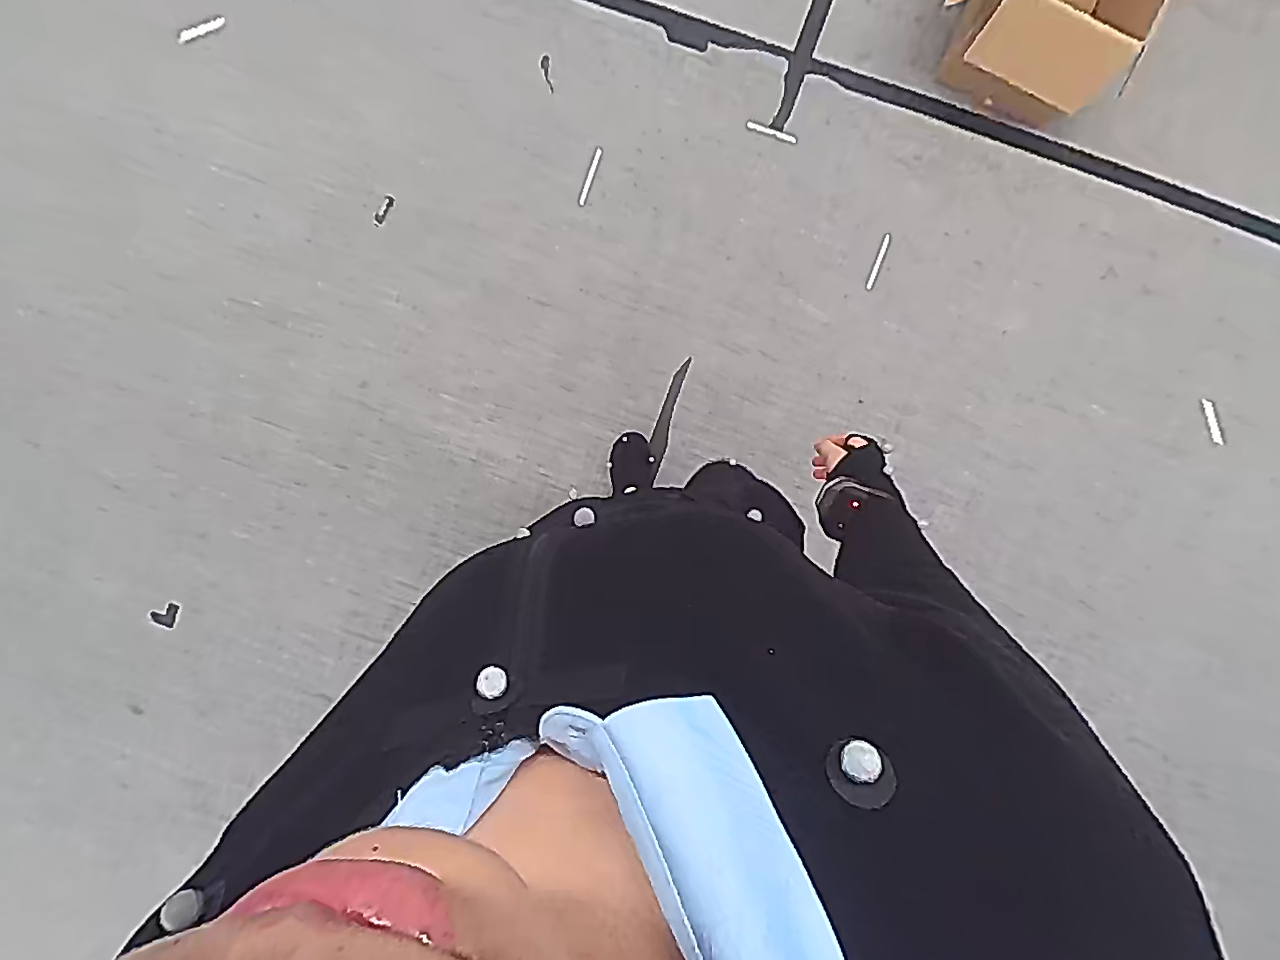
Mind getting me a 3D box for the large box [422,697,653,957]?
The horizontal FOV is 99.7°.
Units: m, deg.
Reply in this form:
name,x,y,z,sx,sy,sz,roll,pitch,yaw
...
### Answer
name,x,y,z,sx,sy,sz,roll,pitch,yaw
large box,-0.199,0.740,1.208,0.408,0.320,0.320,16,92,0
